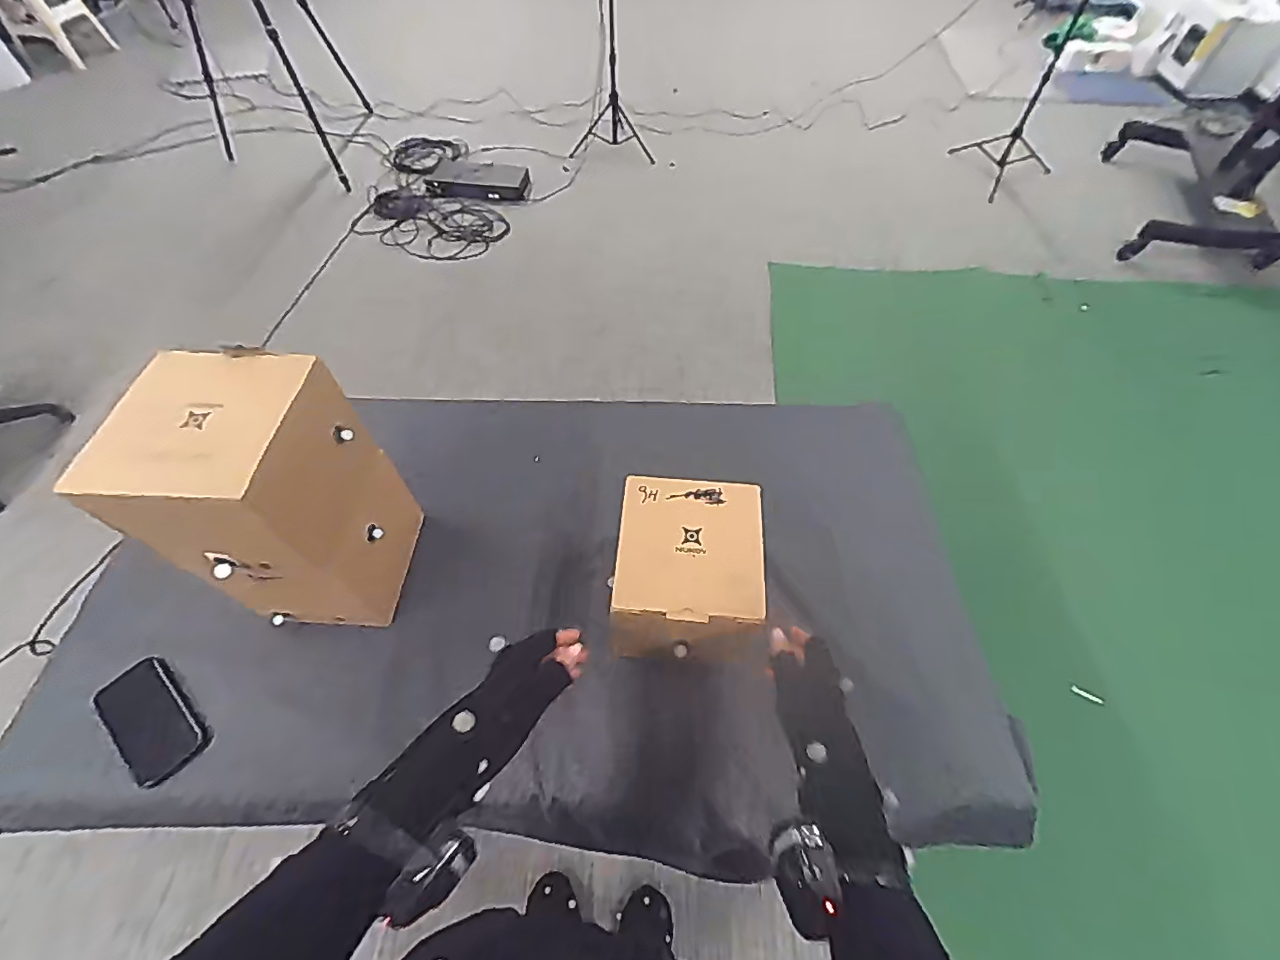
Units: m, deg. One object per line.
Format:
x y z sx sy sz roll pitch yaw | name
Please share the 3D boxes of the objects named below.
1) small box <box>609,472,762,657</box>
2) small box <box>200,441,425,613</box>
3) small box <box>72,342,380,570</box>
0.059 0.112 0.681 0.168 0.176 0.179 5 56 3 | small box
-0.405 0.064 0.710 0.168 0.176 0.179 3 56 1 | small box
-0.403 -0.022 0.573 0.168 0.176 0.179 2 57 2 | small box
